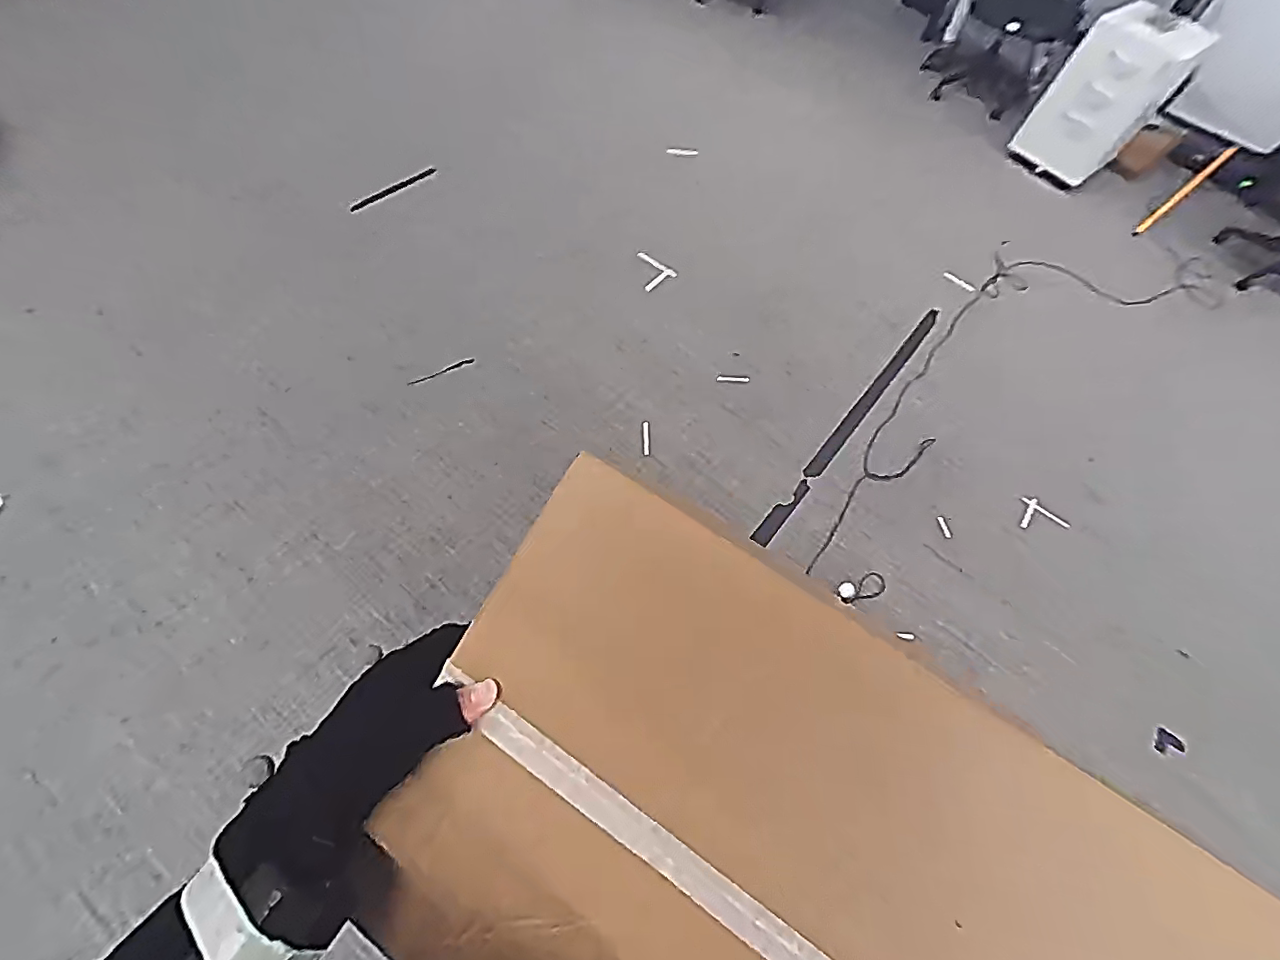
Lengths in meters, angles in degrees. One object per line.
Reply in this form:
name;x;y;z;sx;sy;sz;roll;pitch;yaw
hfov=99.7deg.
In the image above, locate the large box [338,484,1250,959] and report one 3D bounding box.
large box;0.077;0.238;0.446;0.408;0.320;0.320;33;93;11
